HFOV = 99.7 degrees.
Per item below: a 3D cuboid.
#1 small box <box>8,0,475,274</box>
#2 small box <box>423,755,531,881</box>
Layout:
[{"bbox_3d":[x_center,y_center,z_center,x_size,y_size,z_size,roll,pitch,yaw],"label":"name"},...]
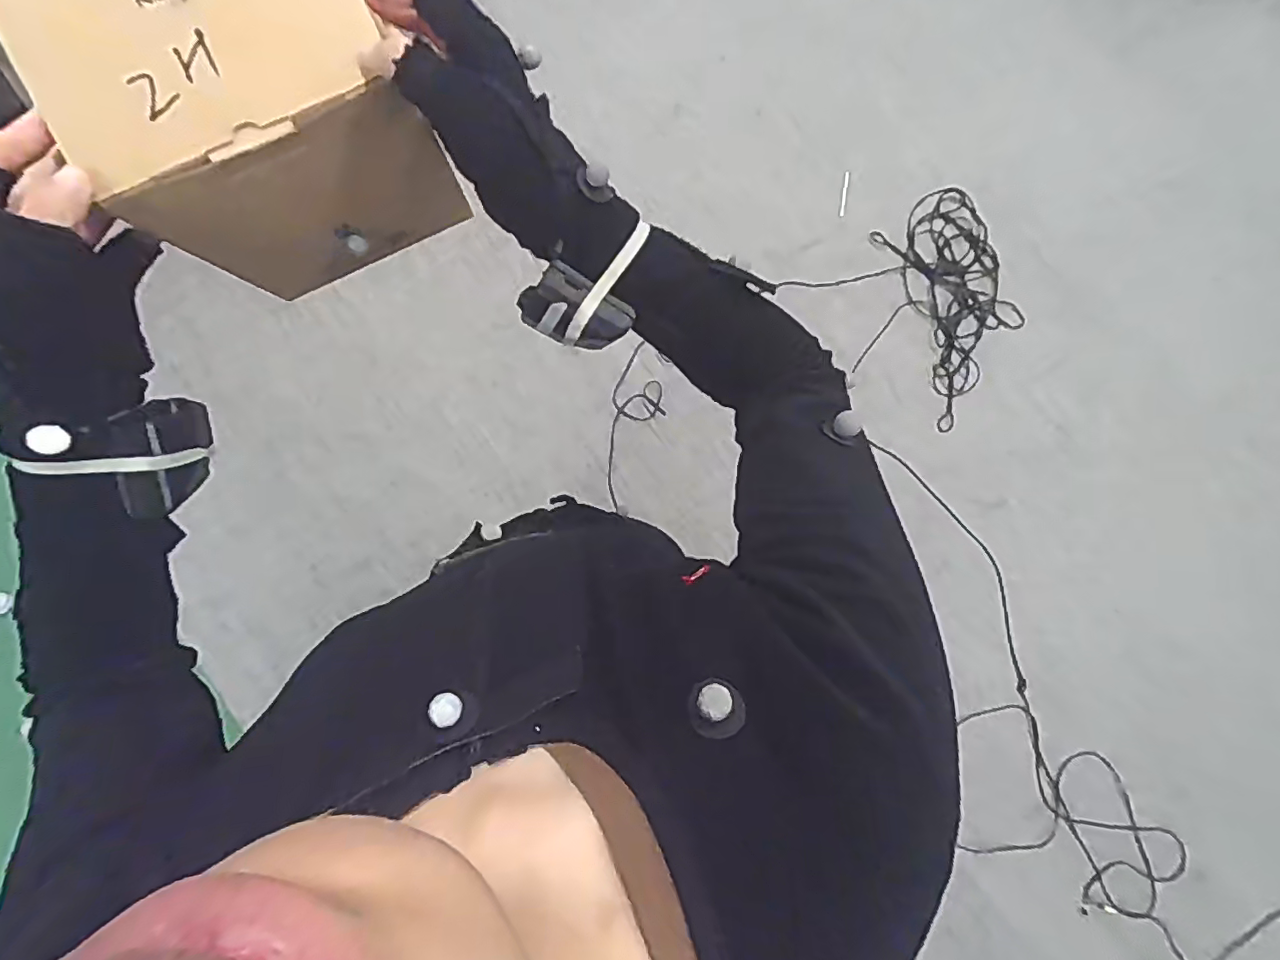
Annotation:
[{"bbox_3d":[-0.228,-0.263,0.337,0.168,0.176,0.179,-26,94,-2],"label":"small box"},{"bbox_3d":[-0.391,0.813,1.330,0.168,0.176,0.179,-39,89,-5],"label":"small box"}]
